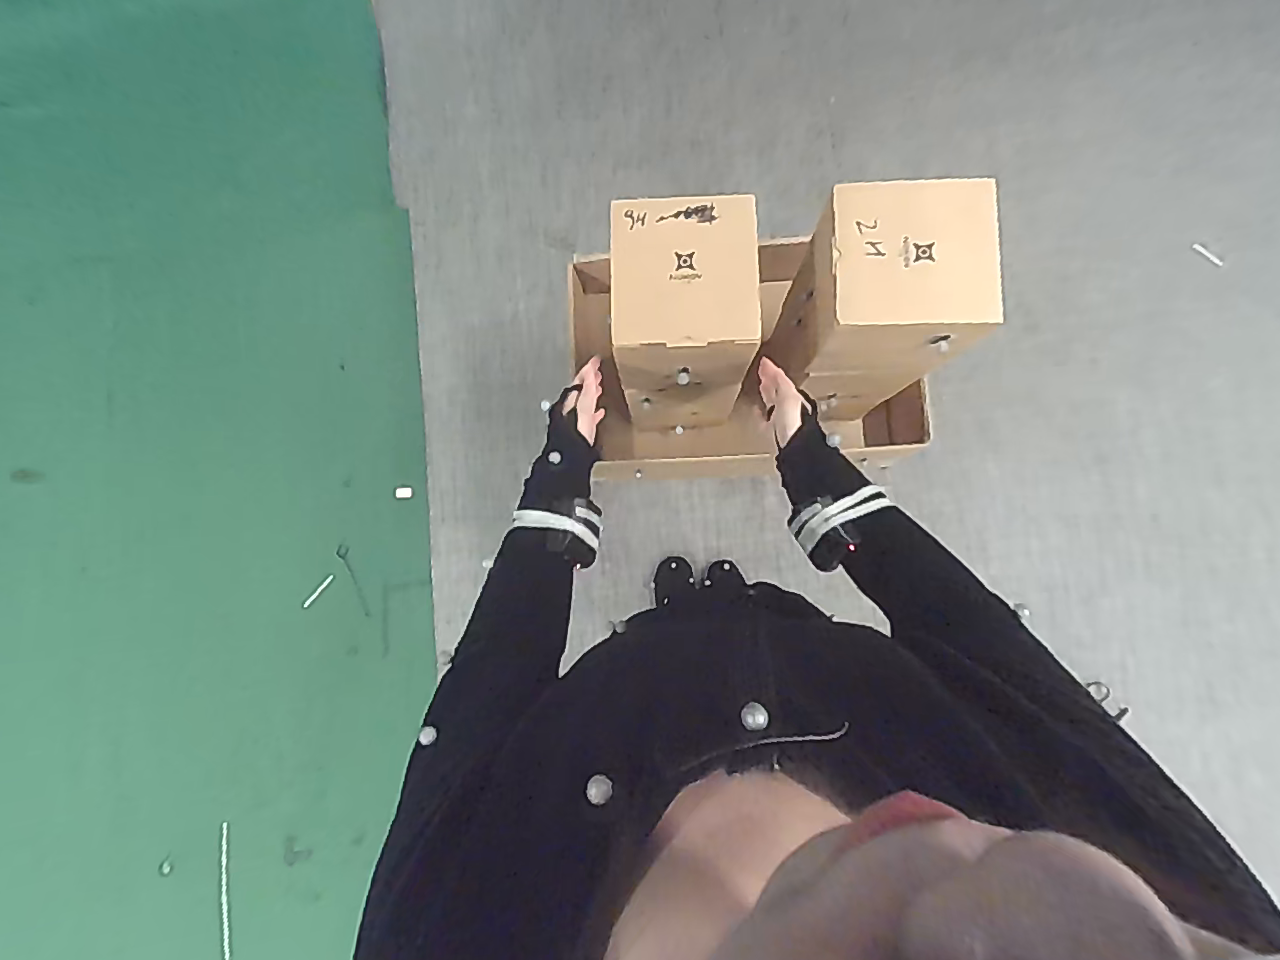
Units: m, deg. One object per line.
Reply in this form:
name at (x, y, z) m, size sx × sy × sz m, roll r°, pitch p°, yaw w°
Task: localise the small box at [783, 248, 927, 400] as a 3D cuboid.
small box at (0.315, -0.228, 0.826) m, size 0.168 × 0.176 × 0.179 m, roll -1°, pitch 85°, yaw 6°
